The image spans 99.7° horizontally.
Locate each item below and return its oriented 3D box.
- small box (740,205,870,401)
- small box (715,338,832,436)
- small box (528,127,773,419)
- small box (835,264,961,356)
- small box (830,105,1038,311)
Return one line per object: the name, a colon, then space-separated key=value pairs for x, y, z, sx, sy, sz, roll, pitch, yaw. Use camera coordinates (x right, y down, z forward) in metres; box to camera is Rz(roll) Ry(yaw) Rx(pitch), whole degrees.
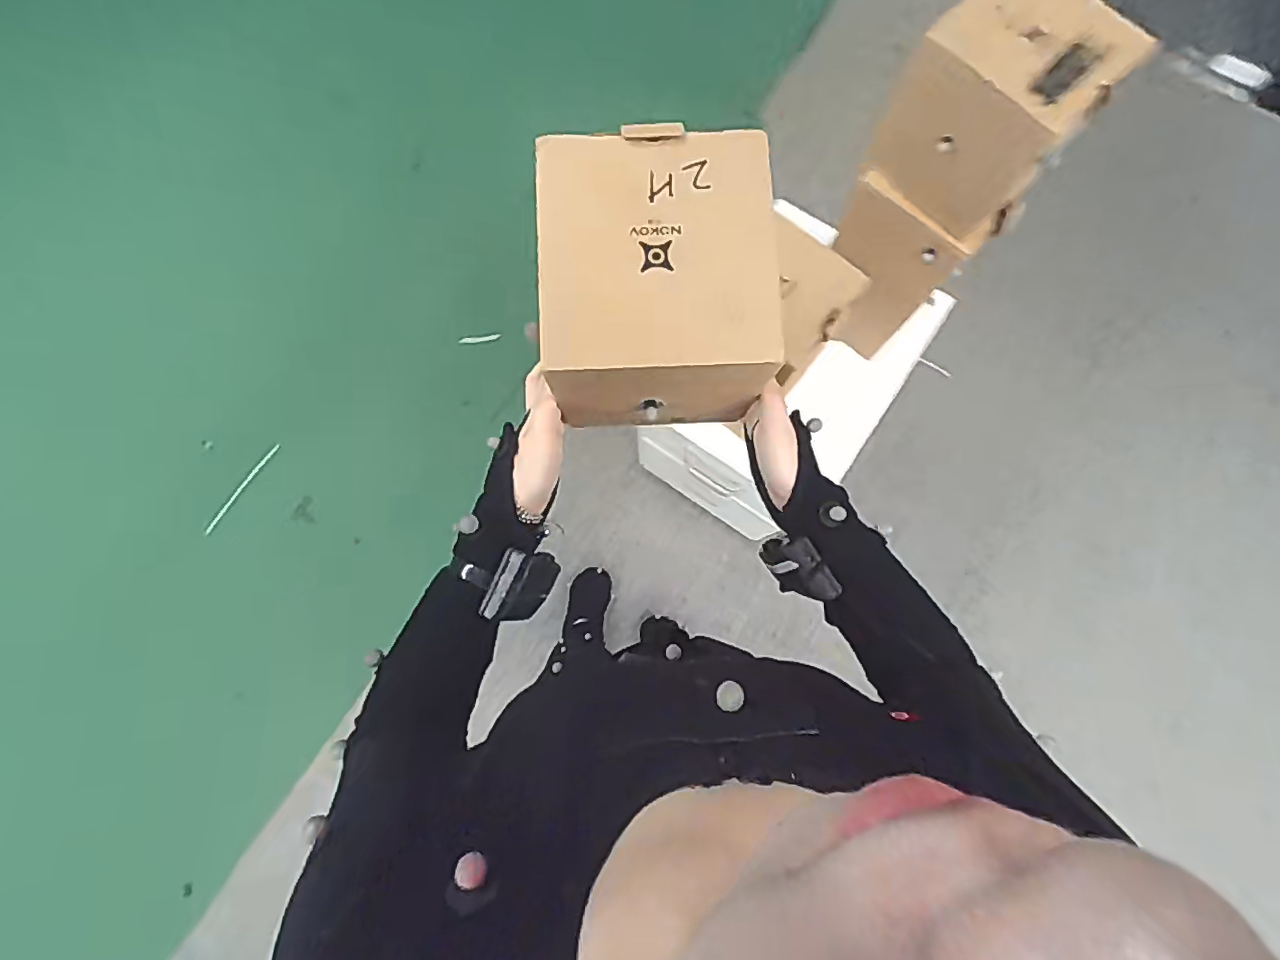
small box: x=0.178 y=-0.233 z=0.764 sx=0.179 sy=0.176 sz=0.168 roll=40 pitch=79 yaw=9
small box: x=0.183 y=-0.200 z=0.923 sx=0.179 sy=0.176 sz=0.168 roll=41 pitch=81 yaw=7
small box: x=0.004 y=-0.152 z=0.452 sx=0.168 sy=0.176 sz=0.179 roll=-3 pitch=82 yaw=-2
small box: x=0.421 y=-0.352 z=0.954 sx=0.179 sy=0.176 sz=0.168 roll=42 pitch=82 yaw=9
small box: x=0.412 y=-0.386 z=0.795 sx=0.179 sy=0.176 sz=0.168 roll=41 pitch=82 yaw=8
